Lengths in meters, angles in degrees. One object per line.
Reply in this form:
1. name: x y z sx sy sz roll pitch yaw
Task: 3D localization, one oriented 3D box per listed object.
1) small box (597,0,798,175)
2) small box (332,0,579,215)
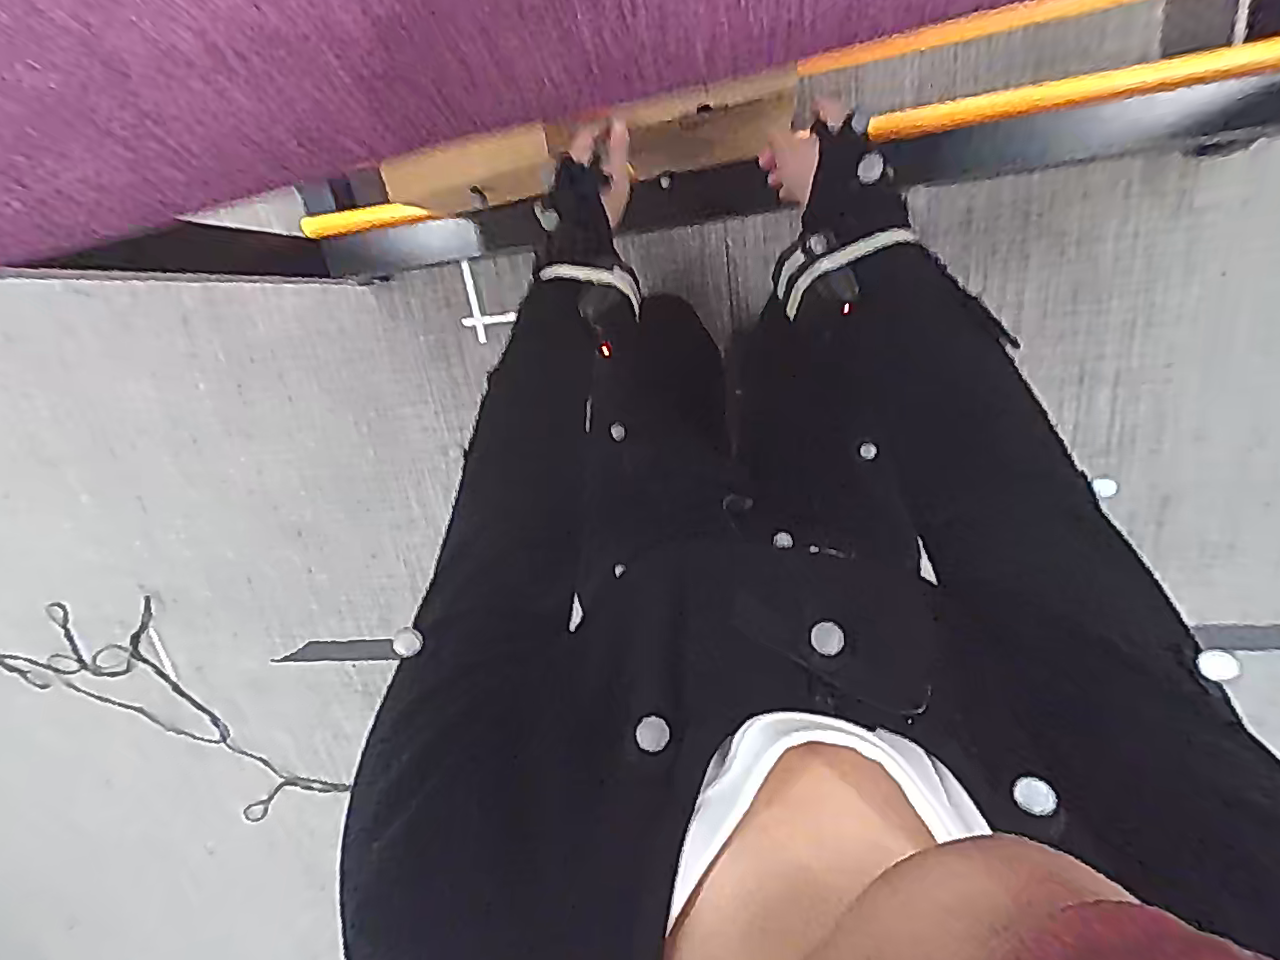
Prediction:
1. small box: 0.057 -0.424 0.532 0.168 0.176 0.179 -6 101 10
2. small box: -0.172 -0.396 0.576 0.179 0.176 0.168 -9 108 11
